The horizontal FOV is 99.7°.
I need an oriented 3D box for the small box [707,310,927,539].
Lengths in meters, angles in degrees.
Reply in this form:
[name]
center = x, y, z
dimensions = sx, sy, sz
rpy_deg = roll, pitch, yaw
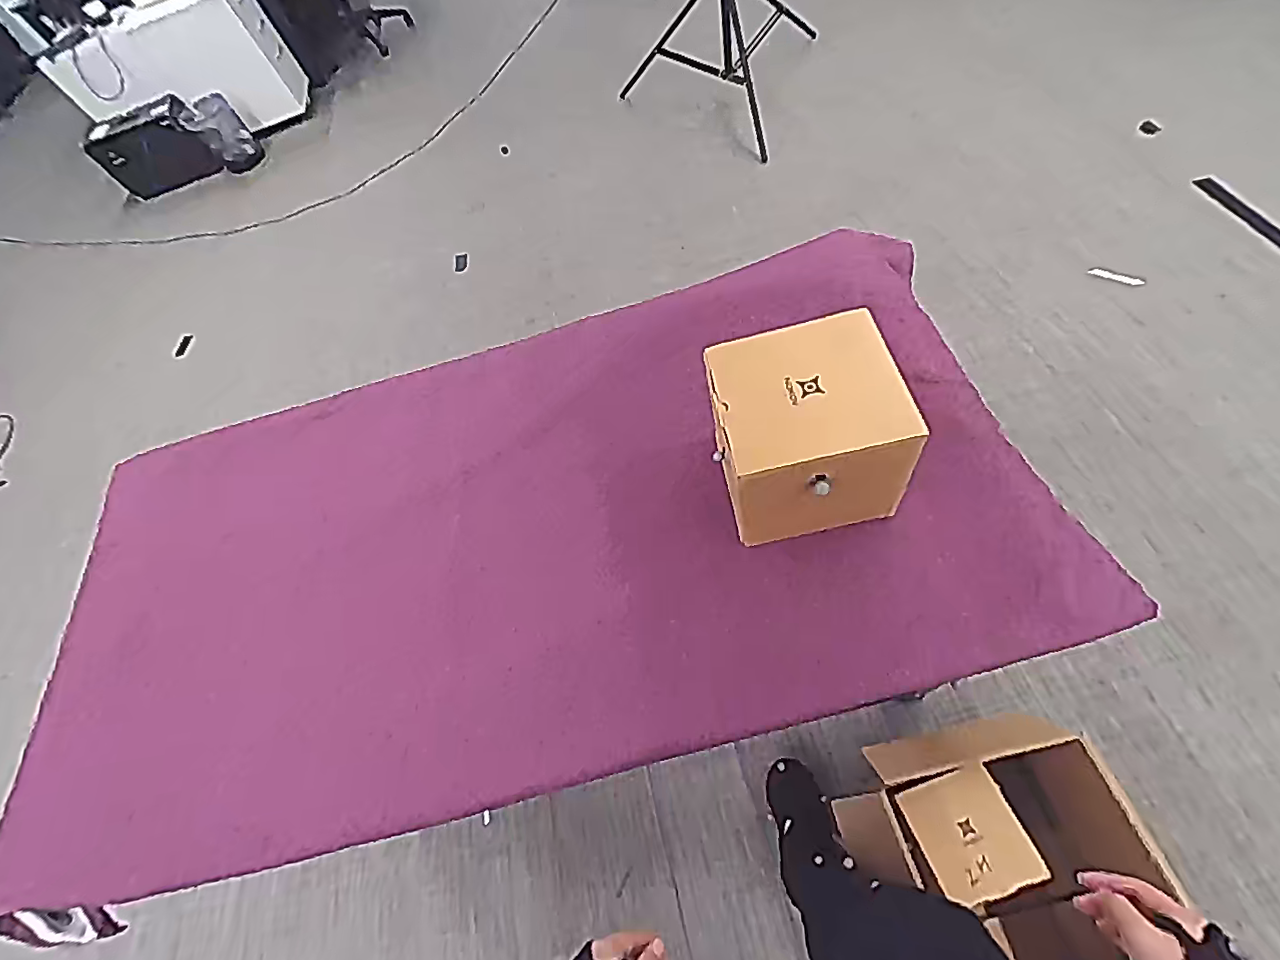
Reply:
[small box]
center = 0.181, -0.052, 0.599
dimensions = 0.179, 0.176, 0.168
rpy_deg = -13, 59, 8
